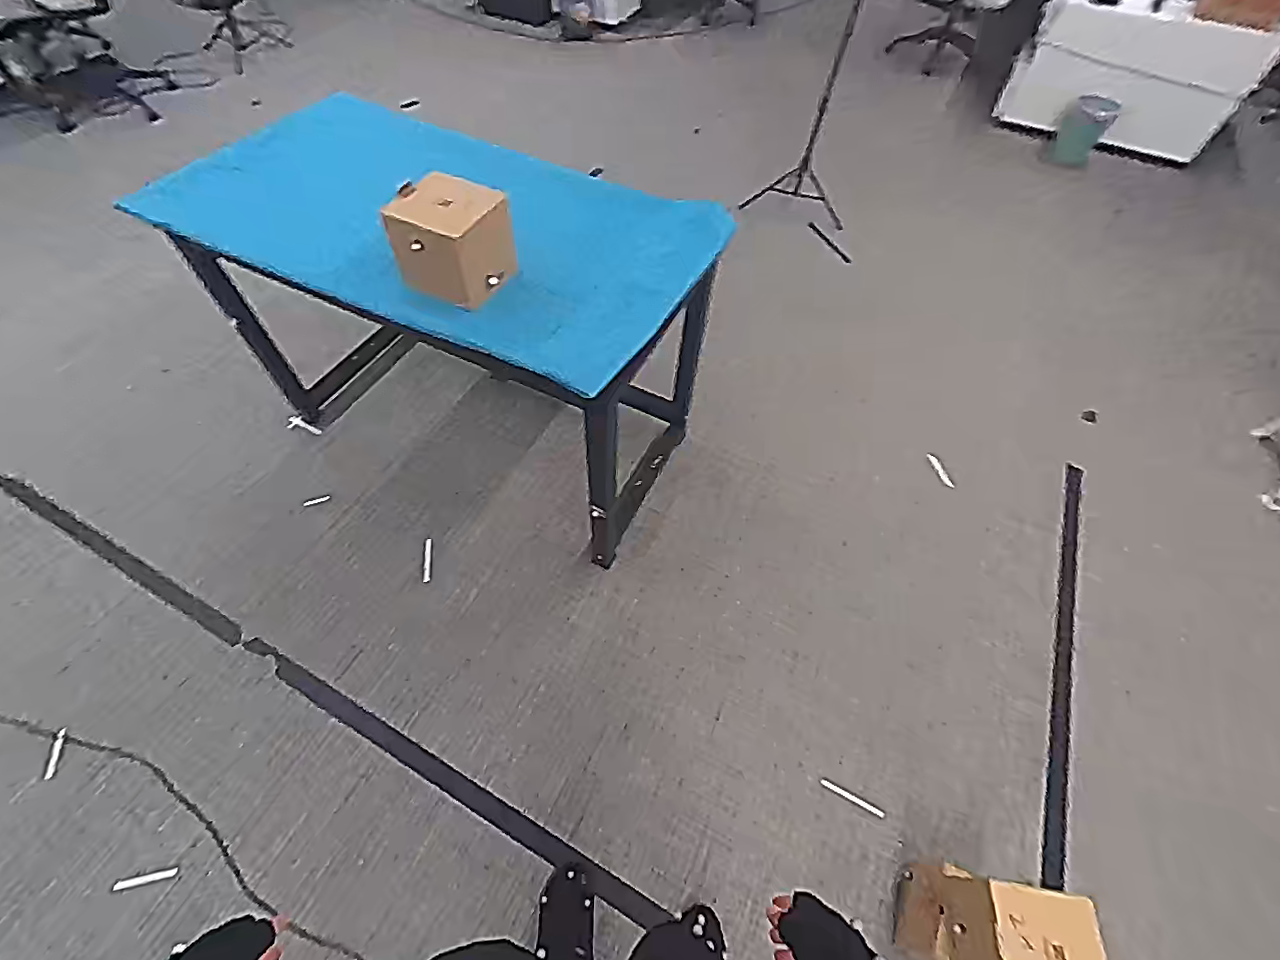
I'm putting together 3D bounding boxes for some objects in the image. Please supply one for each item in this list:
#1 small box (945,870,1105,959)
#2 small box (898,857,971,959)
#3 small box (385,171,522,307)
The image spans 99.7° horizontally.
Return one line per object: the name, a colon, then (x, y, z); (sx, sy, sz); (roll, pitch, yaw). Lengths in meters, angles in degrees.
small box: (0.669, 0.805, 0.951); (0.179, 0.176, 0.168); (11, 56, 7)
small box: (0.651, 0.893, 1.089); (0.179, 0.176, 0.168); (24, 59, 12)
small box: (-0.359, -0.473, 1.074); (0.179, 0.176, 0.168); (24, 59, 13)
